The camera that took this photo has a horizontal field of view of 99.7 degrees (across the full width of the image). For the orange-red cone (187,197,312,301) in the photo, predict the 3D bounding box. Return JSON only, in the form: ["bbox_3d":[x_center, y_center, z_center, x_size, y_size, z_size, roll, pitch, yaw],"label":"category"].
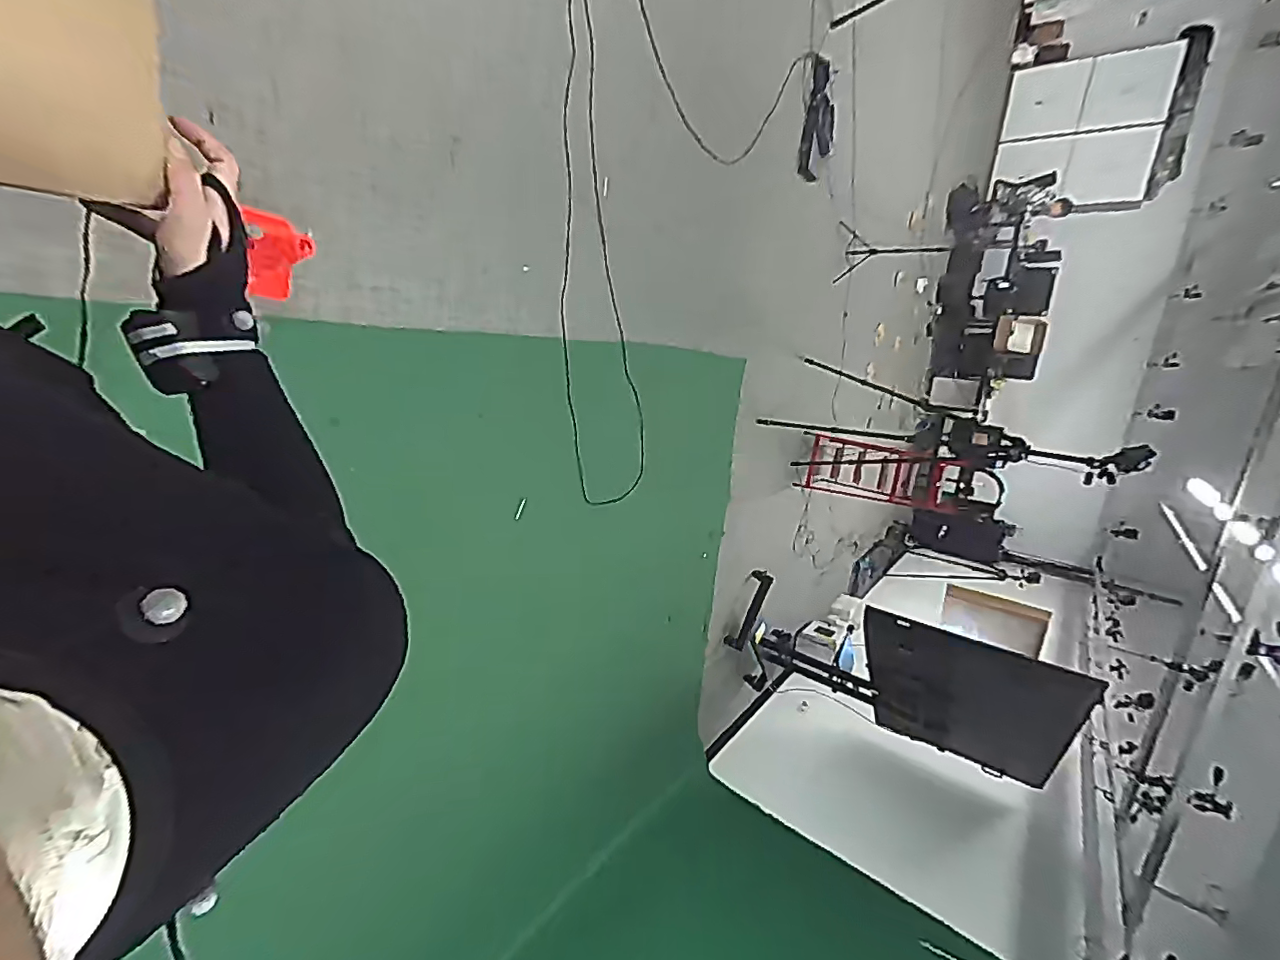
[{"bbox_3d":[-0.833,-0.515,1.215,0.199,0.360,0.198,-3,105,-55],"label":"orange-red cone"}]
